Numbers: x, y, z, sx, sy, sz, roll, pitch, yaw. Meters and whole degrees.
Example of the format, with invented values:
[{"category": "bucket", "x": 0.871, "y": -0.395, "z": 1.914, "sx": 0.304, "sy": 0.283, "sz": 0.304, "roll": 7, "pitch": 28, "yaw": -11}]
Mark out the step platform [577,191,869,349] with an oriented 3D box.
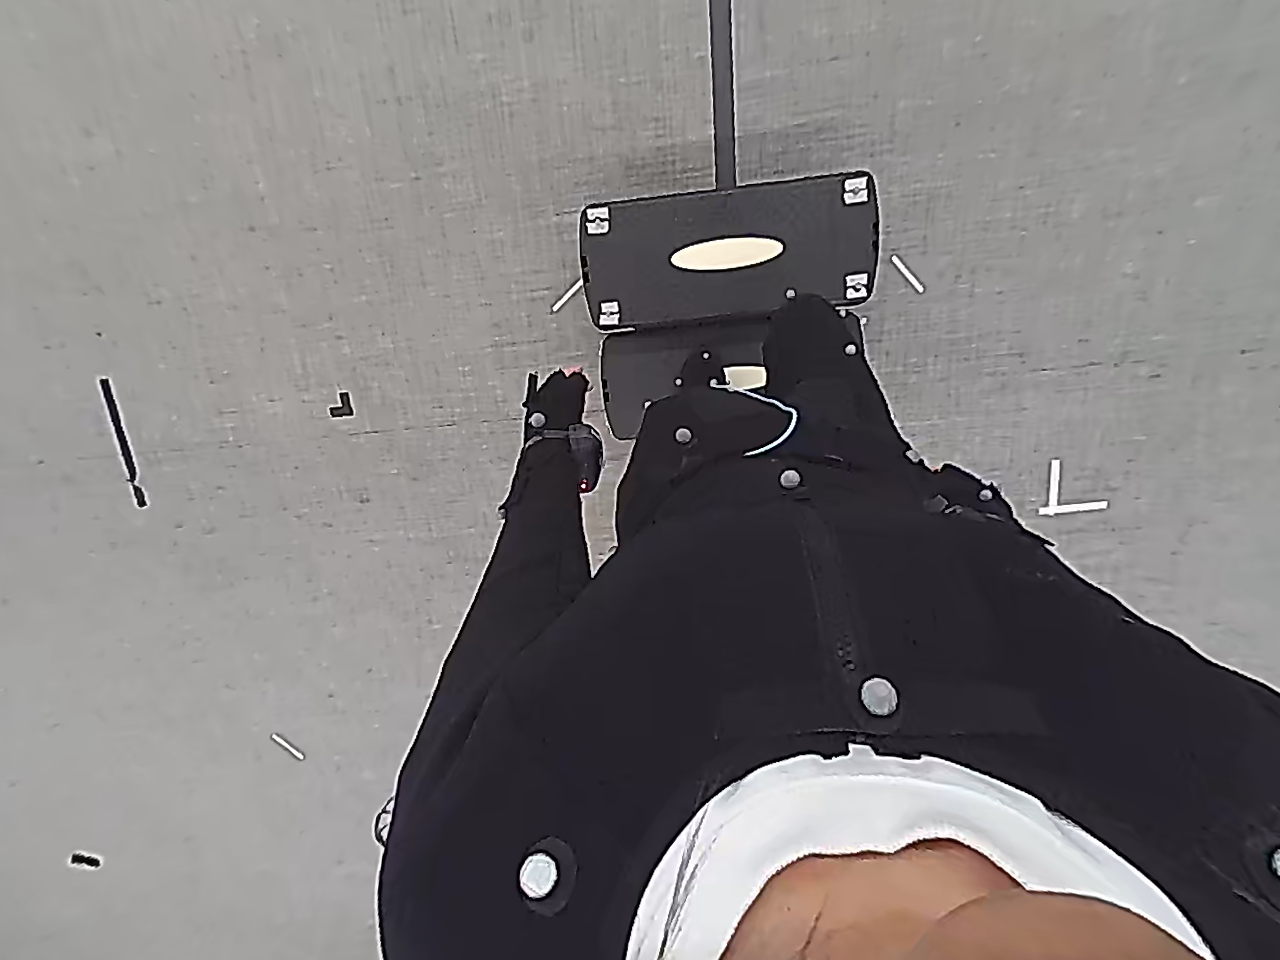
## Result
[{"category": "step platform", "x": 0.189, "y": -0.499, "z": 1.317, "sx": 0.684, "sy": 0.204, "sz": 0.286, "roll": -5, "pitch": 105, "yaw": 5}]
